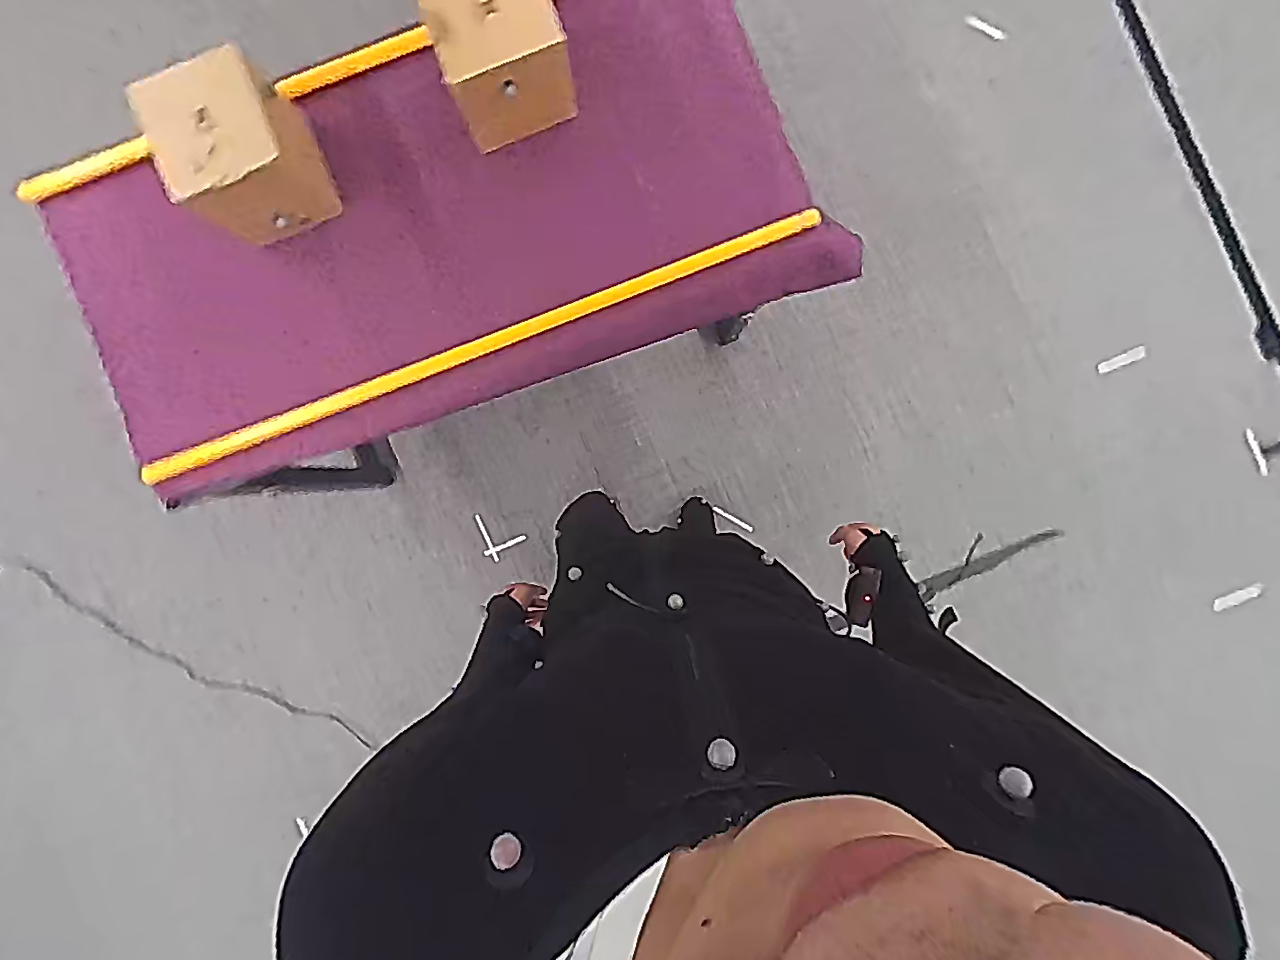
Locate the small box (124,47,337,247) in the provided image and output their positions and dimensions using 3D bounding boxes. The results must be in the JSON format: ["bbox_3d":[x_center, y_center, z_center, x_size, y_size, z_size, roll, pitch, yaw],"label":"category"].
[{"bbox_3d":[-0.615,-0.499,0.836,0.168,0.176,0.179,-22,92,0],"label":"small box"}]

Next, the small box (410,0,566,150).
[{"bbox_3d":[-0.224,-0.660,0.837,0.179,0.176,0.168,-22,91,1],"label":"small box"}]
